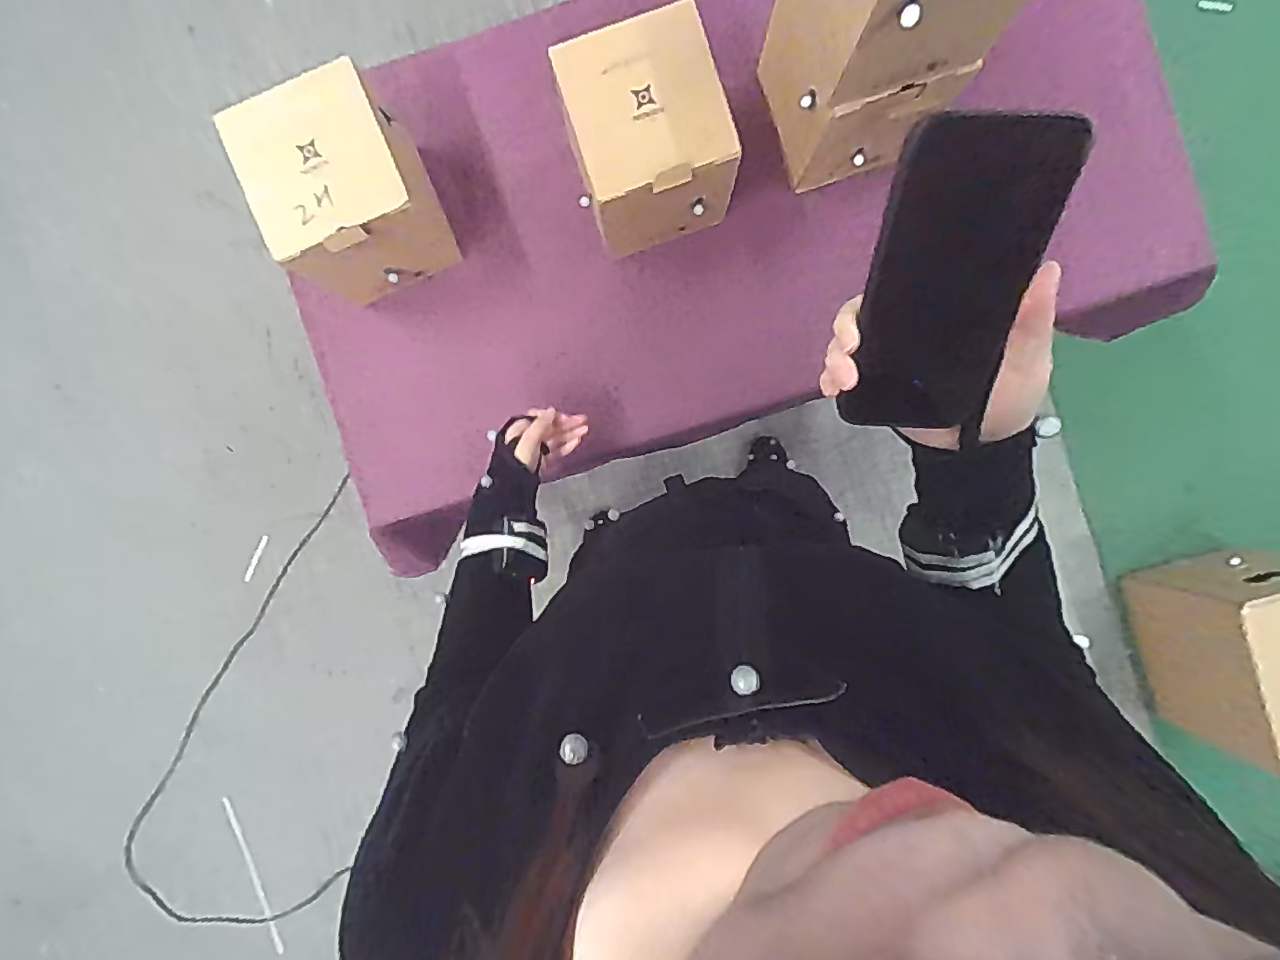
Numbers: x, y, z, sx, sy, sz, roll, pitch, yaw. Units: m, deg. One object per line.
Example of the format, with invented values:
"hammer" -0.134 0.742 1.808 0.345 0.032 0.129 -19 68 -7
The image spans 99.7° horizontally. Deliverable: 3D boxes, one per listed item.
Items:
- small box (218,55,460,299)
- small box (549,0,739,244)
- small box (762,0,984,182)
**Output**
"small box" -0.352 -0.353 0.666 0.168 0.176 0.179 -22 92 3
"small box" 0.008 -0.410 0.654 0.168 0.176 0.179 -18 91 2
"small box" 0.257 -0.500 0.642 0.168 0.176 0.179 -18 92 3
